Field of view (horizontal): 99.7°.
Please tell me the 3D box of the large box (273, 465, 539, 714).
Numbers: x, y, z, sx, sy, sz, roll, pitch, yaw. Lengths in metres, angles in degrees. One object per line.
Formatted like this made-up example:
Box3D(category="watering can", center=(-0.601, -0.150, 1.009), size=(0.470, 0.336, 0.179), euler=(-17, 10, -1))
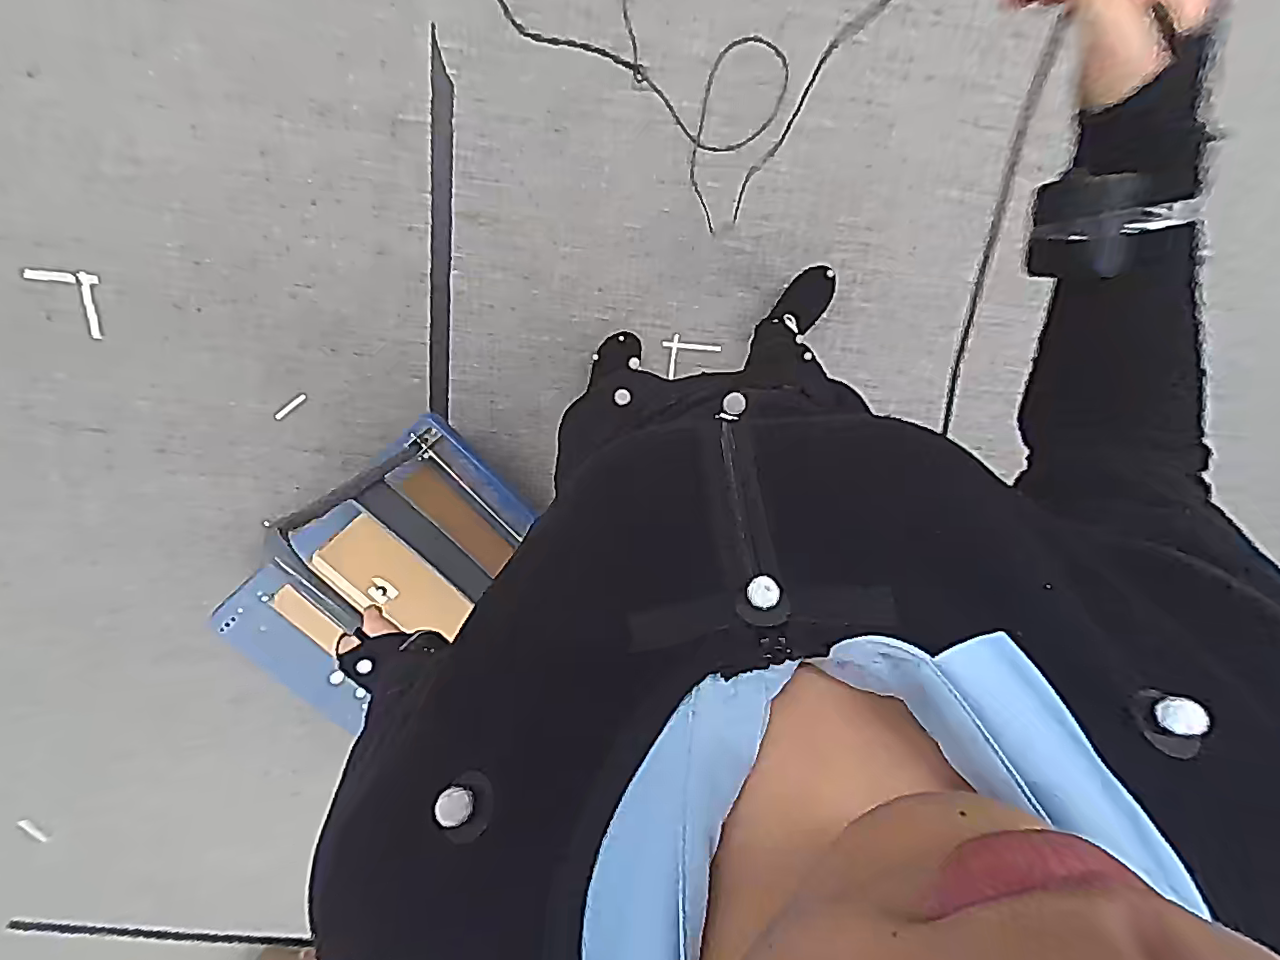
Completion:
Box3D(category="large box", center=(-0.500, 0.238, 1.250), size=(0.320, 0.320, 0.408), euler=(-40, 104, 10))
